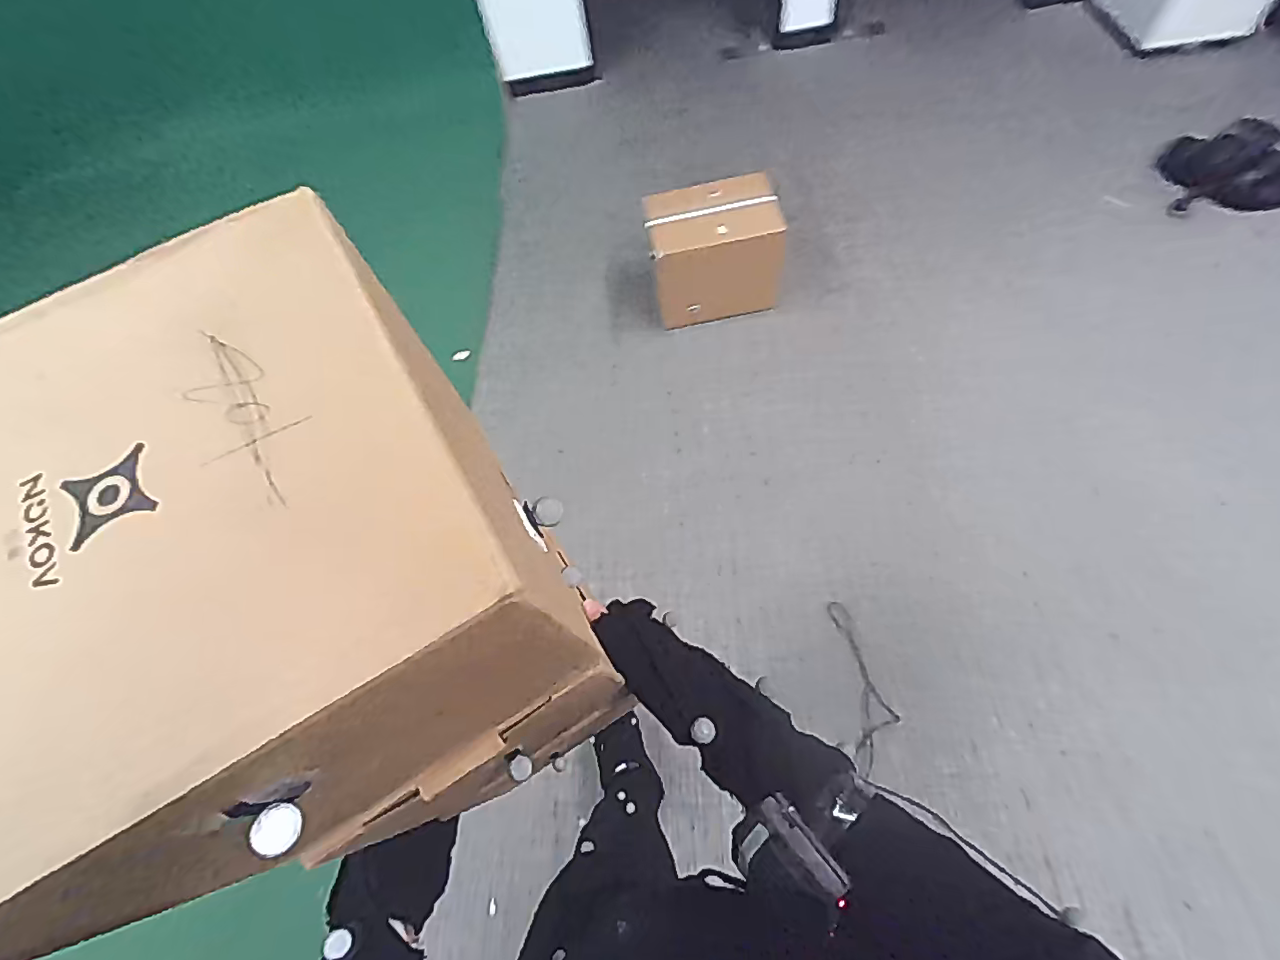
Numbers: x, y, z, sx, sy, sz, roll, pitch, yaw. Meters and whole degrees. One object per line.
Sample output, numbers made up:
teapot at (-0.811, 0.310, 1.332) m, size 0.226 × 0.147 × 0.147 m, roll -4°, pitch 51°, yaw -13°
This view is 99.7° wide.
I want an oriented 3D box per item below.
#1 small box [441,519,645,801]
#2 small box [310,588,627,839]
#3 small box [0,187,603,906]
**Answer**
small box at (-0.106, 0.168, 0.519) m, size 0.179 × 0.176 × 0.168 m, roll -30°, pitch 68°, yaw -7°
small box at (-0.122, 0.097, 0.373) m, size 0.168 × 0.176 × 0.179 m, roll -30°, pitch 68°, yaw -8°
small box at (-0.133, 0.031, 0.225) m, size 0.179 × 0.176 × 0.168 m, roll -29°, pitch 69°, yaw -9°
